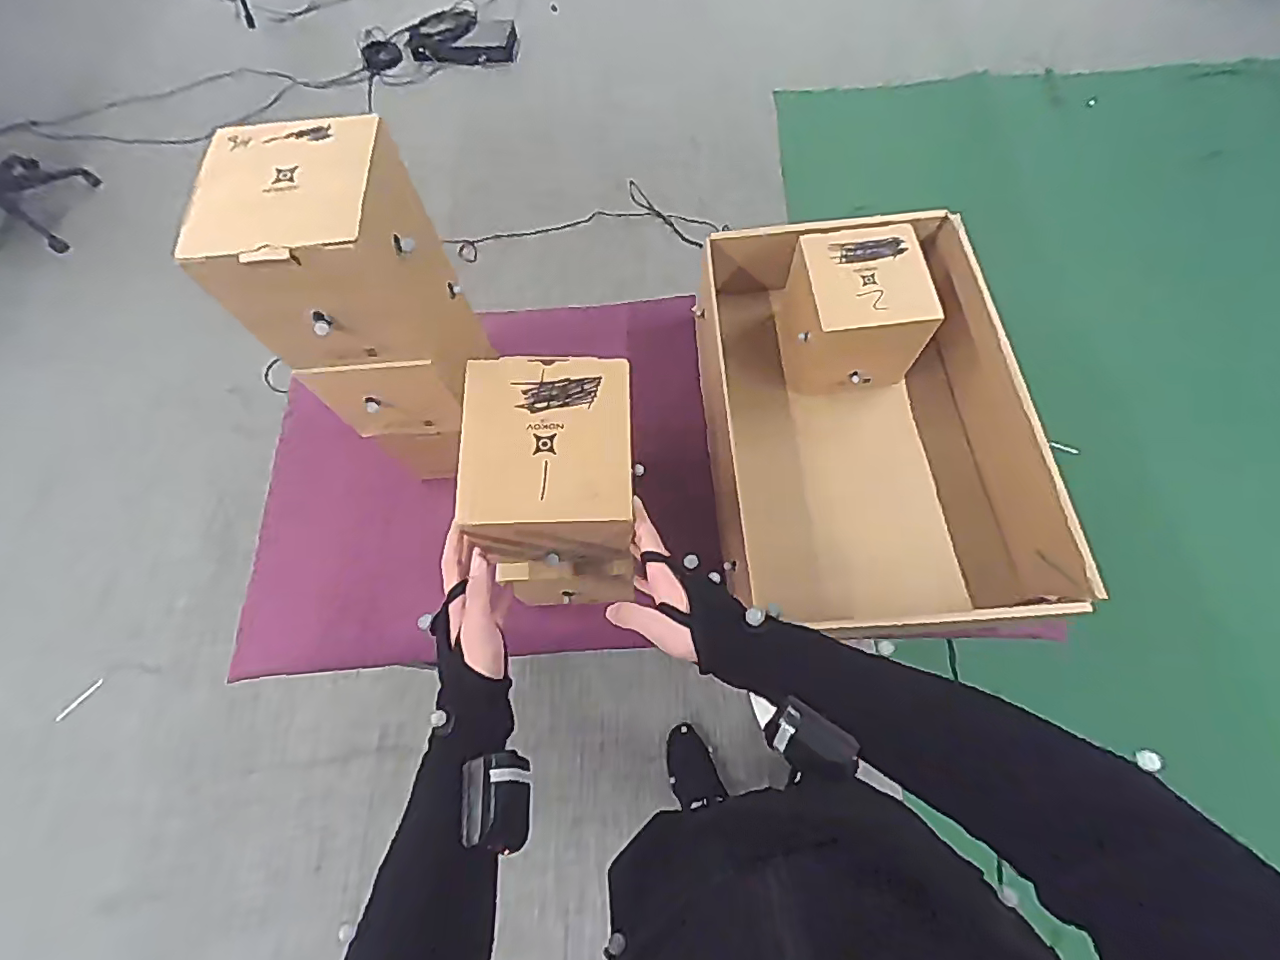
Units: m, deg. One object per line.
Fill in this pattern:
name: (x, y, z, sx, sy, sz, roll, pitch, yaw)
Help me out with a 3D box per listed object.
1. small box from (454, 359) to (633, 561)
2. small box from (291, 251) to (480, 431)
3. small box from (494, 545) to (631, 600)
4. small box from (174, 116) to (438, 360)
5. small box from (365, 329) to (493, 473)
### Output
small box: (-0.094, -0.015, 0.599, 0.168, 0.176, 0.179, -2, 70, -2)
small box: (-0.323, -0.175, 0.726, 0.168, 0.176, 0.179, -4, 67, 1)
small box: (-0.101, 0.074, 0.781, 0.168, 0.176, 0.179, -3, 67, 1)
small box: (-0.330, -0.242, 0.576, 0.168, 0.176, 0.179, -4, 68, 0)
small box: (-0.314, -0.118, 0.877, 0.168, 0.176, 0.179, -4, 67, 1)
